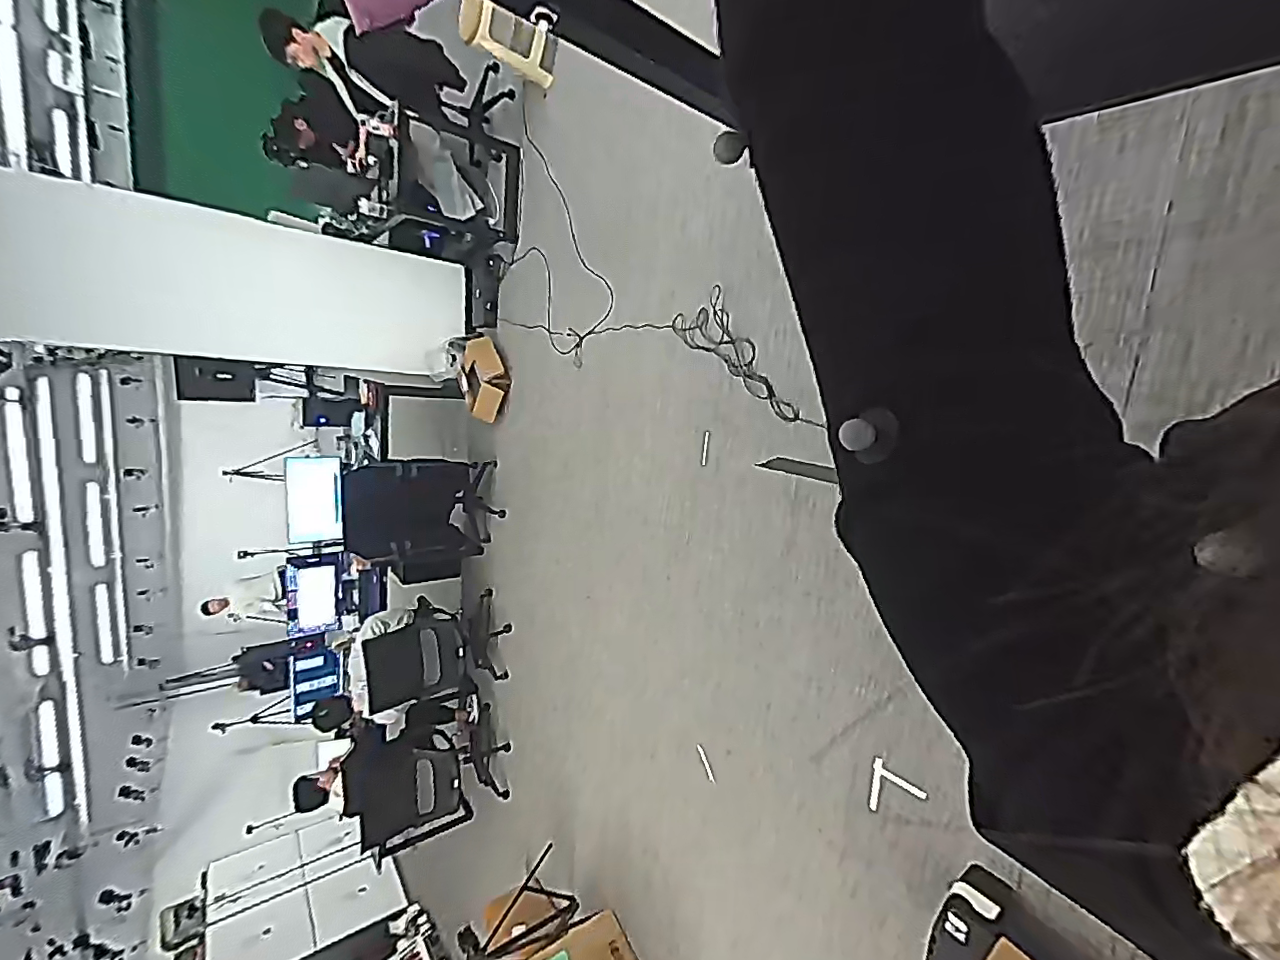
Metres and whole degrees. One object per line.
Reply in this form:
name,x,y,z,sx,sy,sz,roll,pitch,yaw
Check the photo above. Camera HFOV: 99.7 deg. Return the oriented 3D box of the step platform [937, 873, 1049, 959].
step platform,1.010,1.241,1.142,0.684,0.204,0.286,26,112,48
